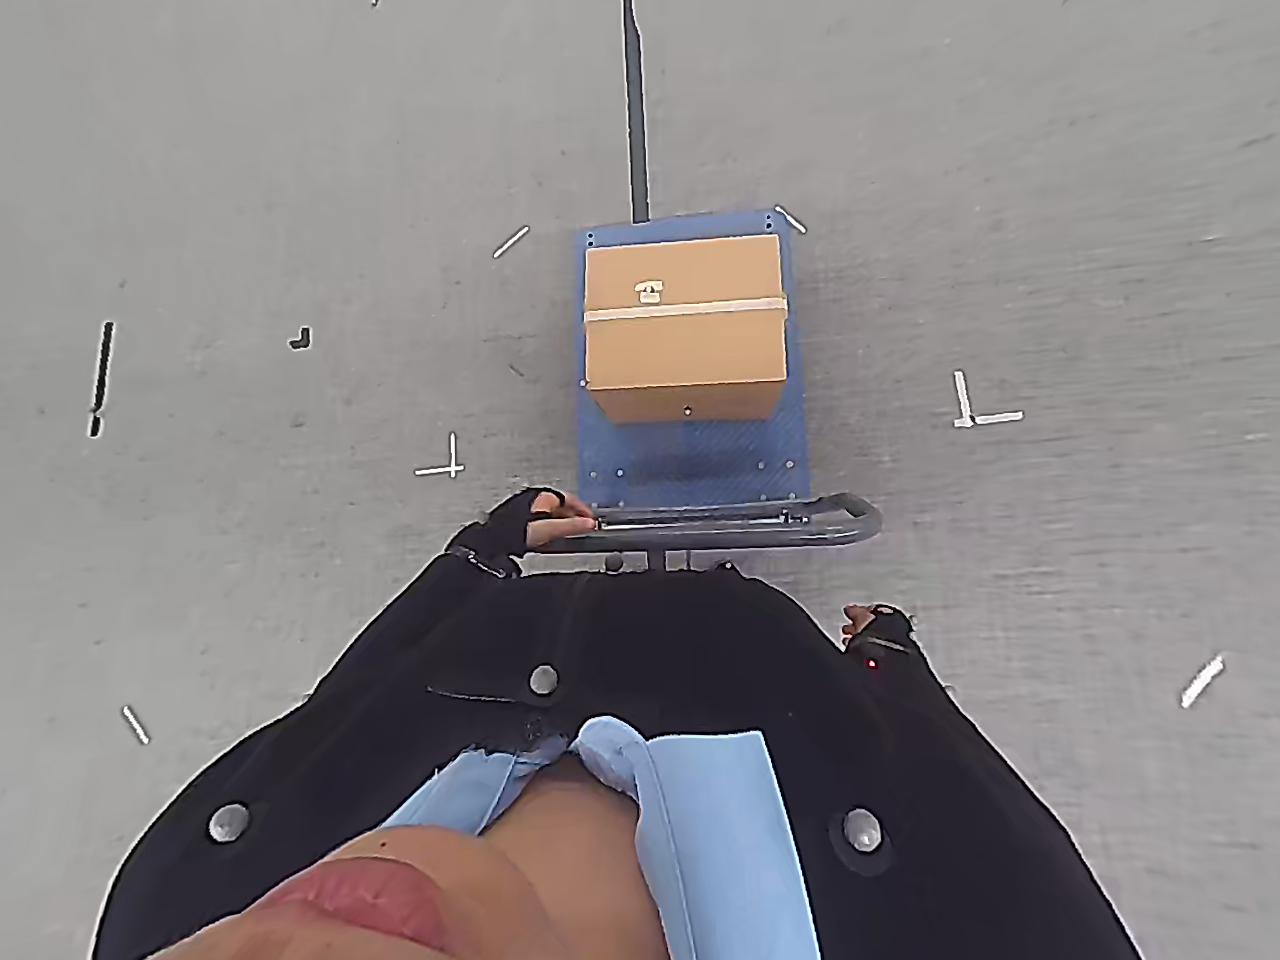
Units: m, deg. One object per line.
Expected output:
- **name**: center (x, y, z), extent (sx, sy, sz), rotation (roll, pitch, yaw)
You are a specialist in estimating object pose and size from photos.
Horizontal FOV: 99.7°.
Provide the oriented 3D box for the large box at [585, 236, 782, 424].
- **large box**: center (0.104, -0.322, 1.262), extent (0.408, 0.320, 0.320), rotation (-2, 81, 8)
